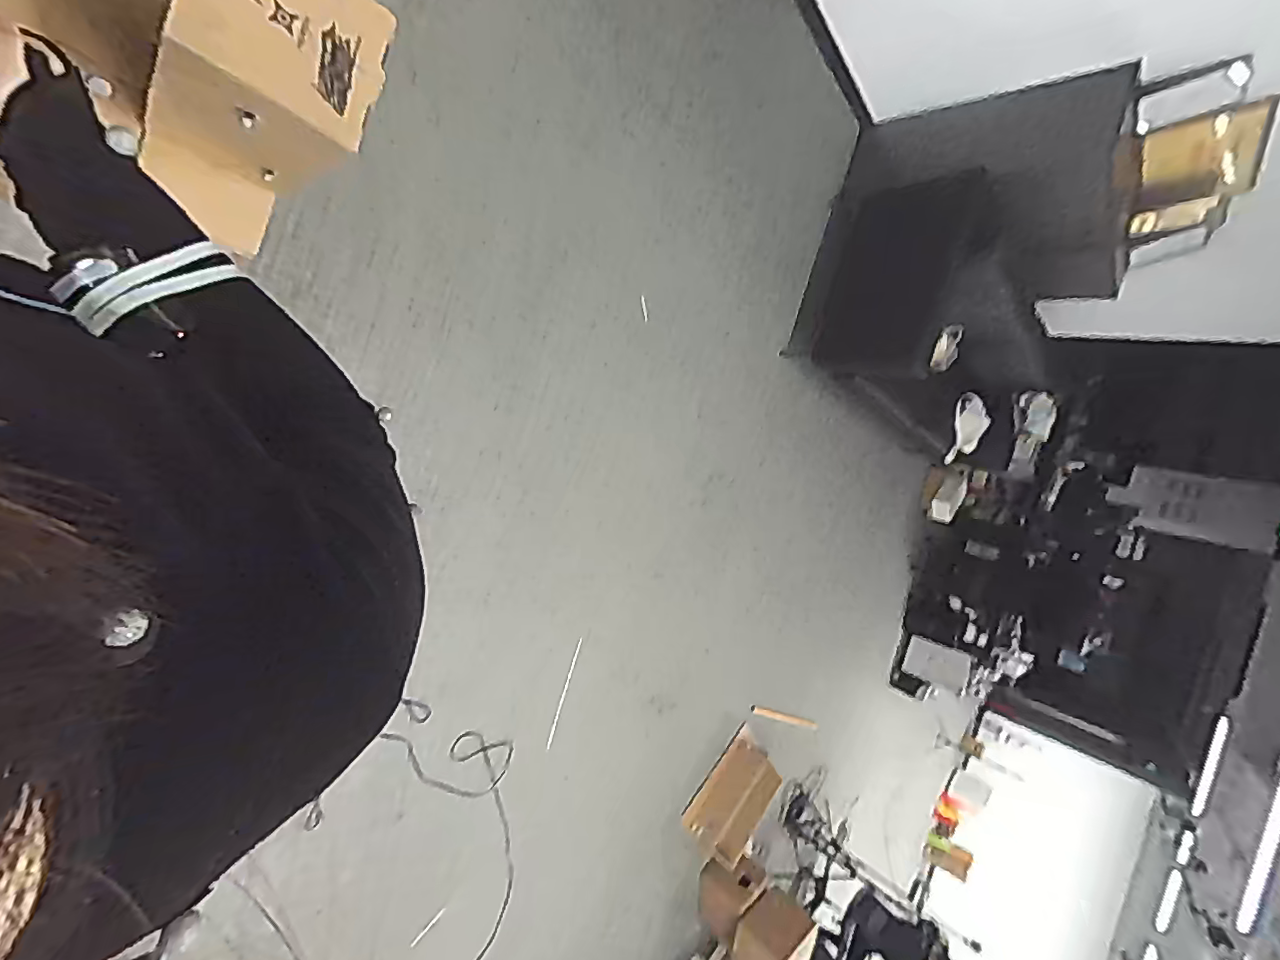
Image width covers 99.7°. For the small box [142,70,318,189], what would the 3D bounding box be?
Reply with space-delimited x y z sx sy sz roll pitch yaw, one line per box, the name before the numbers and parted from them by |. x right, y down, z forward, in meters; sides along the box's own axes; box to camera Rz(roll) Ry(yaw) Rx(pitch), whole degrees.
small box | -0.535 -0.522 0.731 0.179 0.176 0.168 16 90 -46

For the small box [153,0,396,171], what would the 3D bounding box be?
small box | -0.419 -0.487 0.620 0.179 0.176 0.168 19 89 -45

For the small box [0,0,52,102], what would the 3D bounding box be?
small box | -0.721 -0.523 0.536 0.168 0.176 0.179 20 88 -49
